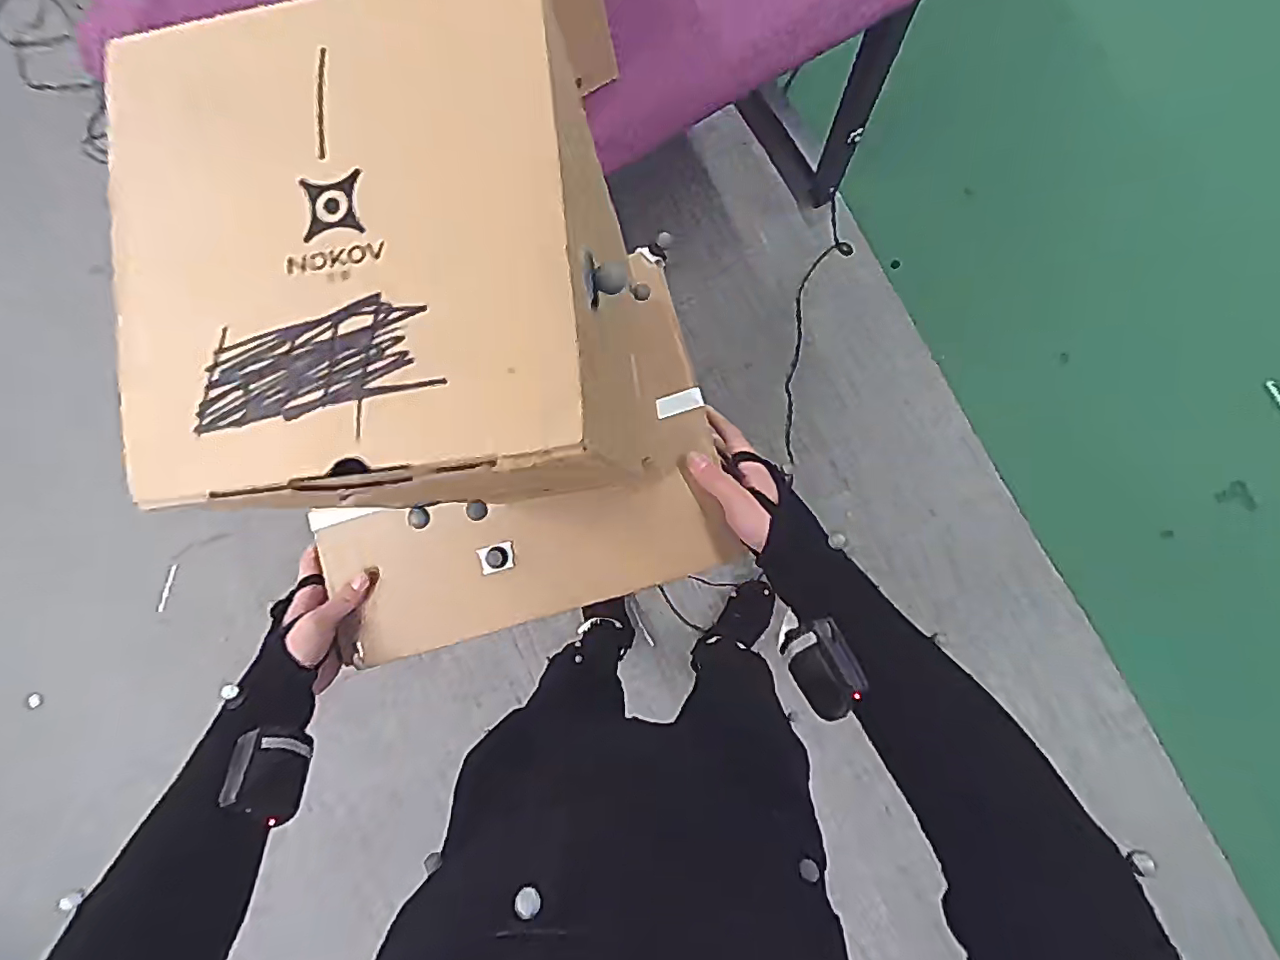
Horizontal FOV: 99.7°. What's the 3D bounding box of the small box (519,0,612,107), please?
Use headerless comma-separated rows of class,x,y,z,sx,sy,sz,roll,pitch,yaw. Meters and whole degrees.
small box,-0.153,-0.610,0.686,0.168,0.176,0.179,-27,84,5

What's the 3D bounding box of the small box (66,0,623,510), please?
small box,-0.105,-0.081,0.259,0.168,0.176,0.179,-6,86,6
